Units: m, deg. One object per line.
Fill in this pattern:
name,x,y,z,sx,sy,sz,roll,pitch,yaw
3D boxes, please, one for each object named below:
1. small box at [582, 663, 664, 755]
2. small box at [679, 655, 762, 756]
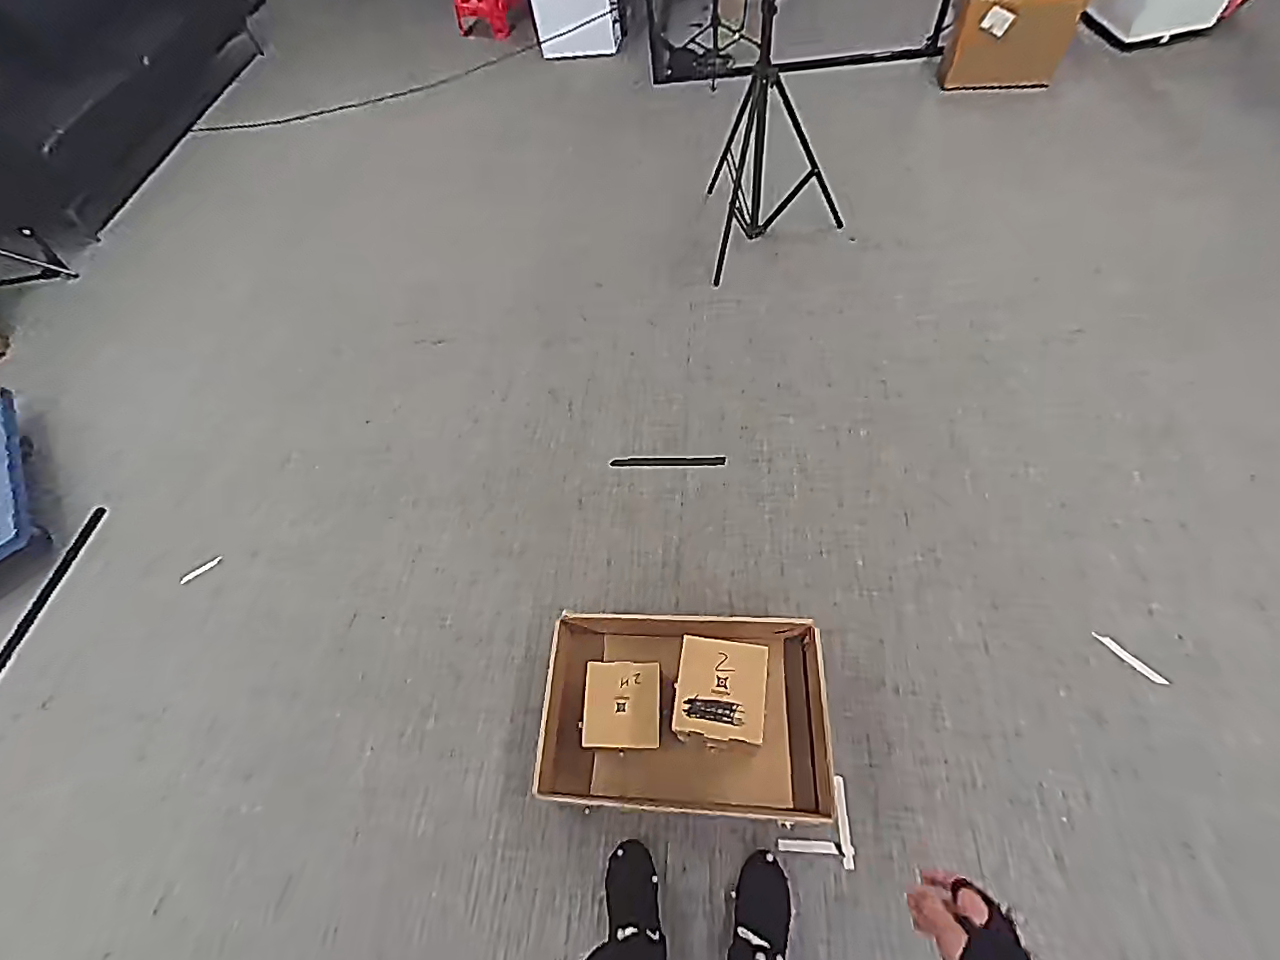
small box,-0.031,0.526,1.235,0.168,0.176,0.179,-1,60,5
small box,0.184,0.511,1.219,0.168,0.176,0.179,3,61,12
